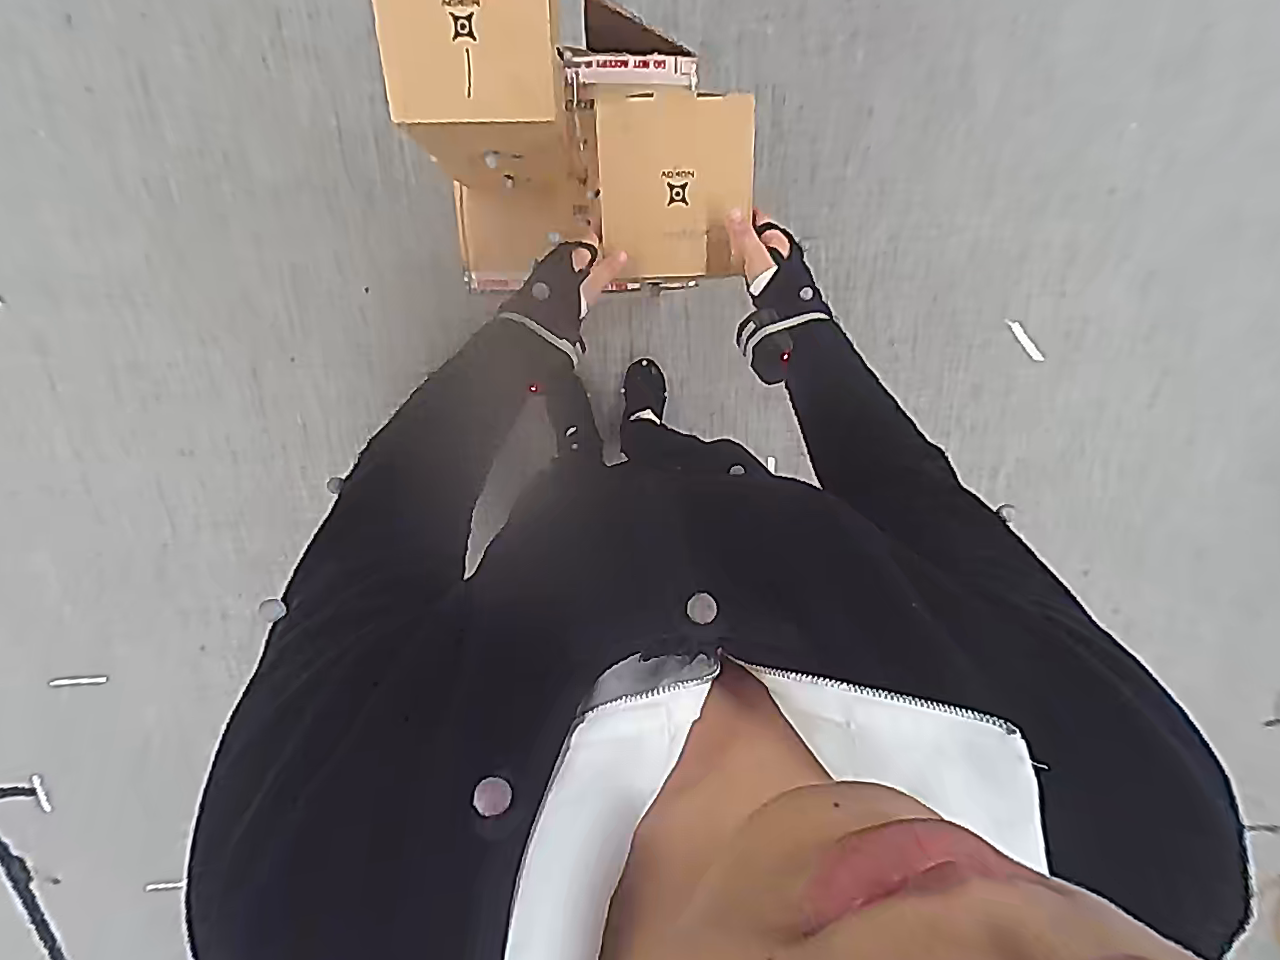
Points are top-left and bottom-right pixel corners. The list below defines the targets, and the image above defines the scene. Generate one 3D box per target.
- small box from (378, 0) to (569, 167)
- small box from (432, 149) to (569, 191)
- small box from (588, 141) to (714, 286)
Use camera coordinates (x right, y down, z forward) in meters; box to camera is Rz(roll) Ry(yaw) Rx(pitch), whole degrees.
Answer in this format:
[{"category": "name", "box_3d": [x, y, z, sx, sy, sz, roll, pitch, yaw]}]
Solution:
[{"category": "small box", "box_3d": [-0.168, -0.459, 0.588, 0.168, 0.176, 0.179, -2, 110, -2]}, {"category": "small box", "box_3d": [-0.192, -0.515, 0.742, 0.168, 0.176, 0.179, -5, 109, -1]}, {"category": "small box", "box_3d": [0.010, -0.382, 0.801, 0.168, 0.176, 0.179, -4, 109, -5]}]
